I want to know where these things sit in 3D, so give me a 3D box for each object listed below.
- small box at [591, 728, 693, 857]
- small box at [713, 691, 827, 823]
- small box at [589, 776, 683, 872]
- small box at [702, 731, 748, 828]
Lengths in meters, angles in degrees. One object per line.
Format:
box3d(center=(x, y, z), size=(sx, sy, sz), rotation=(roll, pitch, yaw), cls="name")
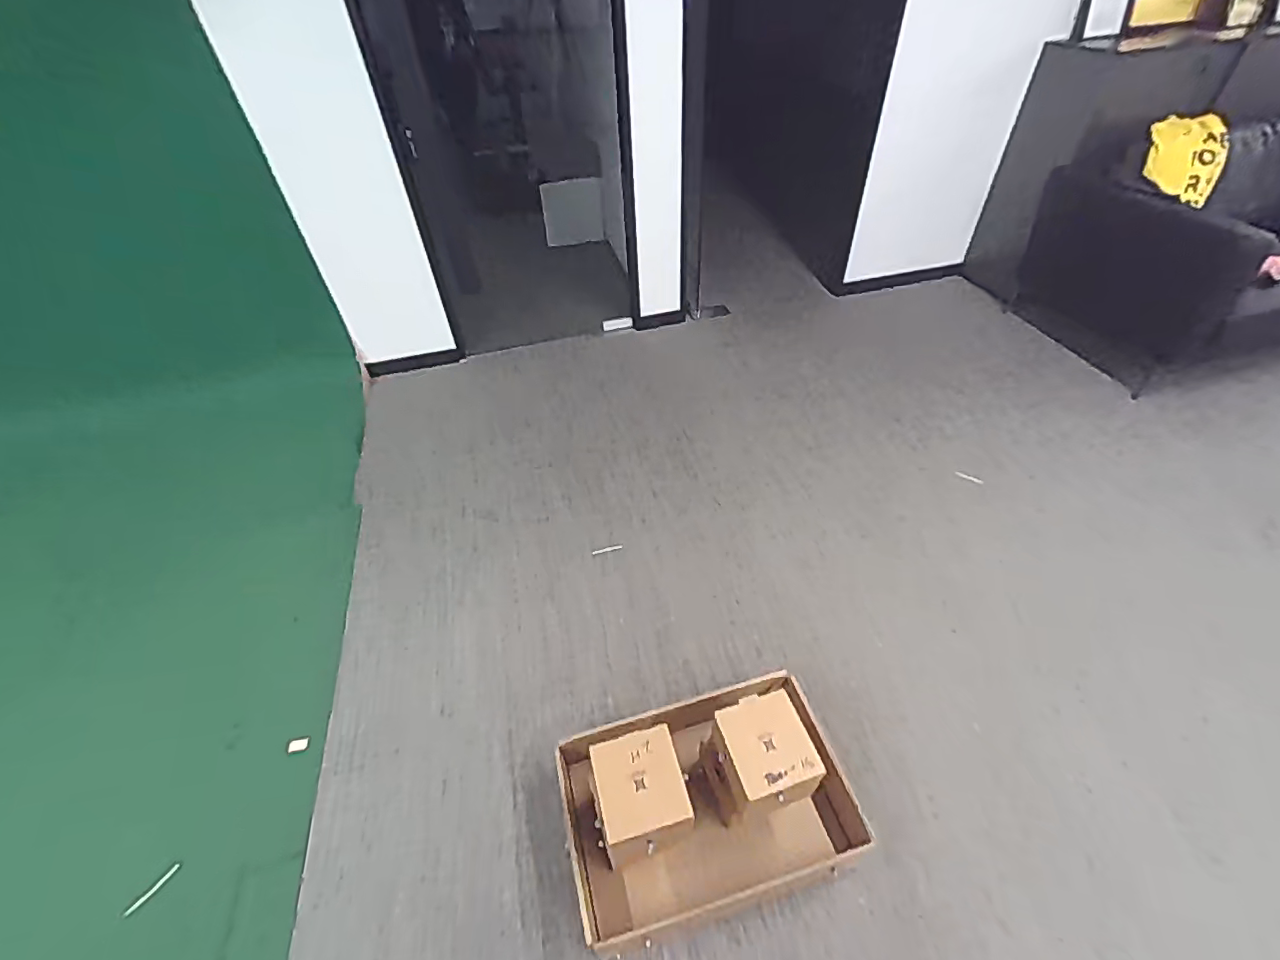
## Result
box3d(center=(0.003, 0.636, 1.093), size=(0.168, 0.176, 0.179), rotation=(-12, 47, -10), cls="small box")
box3d(center=(0.260, 0.581, 1.133), size=(0.168, 0.176, 0.179), rotation=(-14, 46, -10), cls="small box")
box3d(center=(-0.004, 0.747, 1.214), size=(0.179, 0.176, 0.168), rotation=(-14, 47, -13), cls="small box")
box3d(center=(0.253, 0.679, 1.264), size=(0.179, 0.176, 0.168), rotation=(-15, 46, -14), cls="small box")
